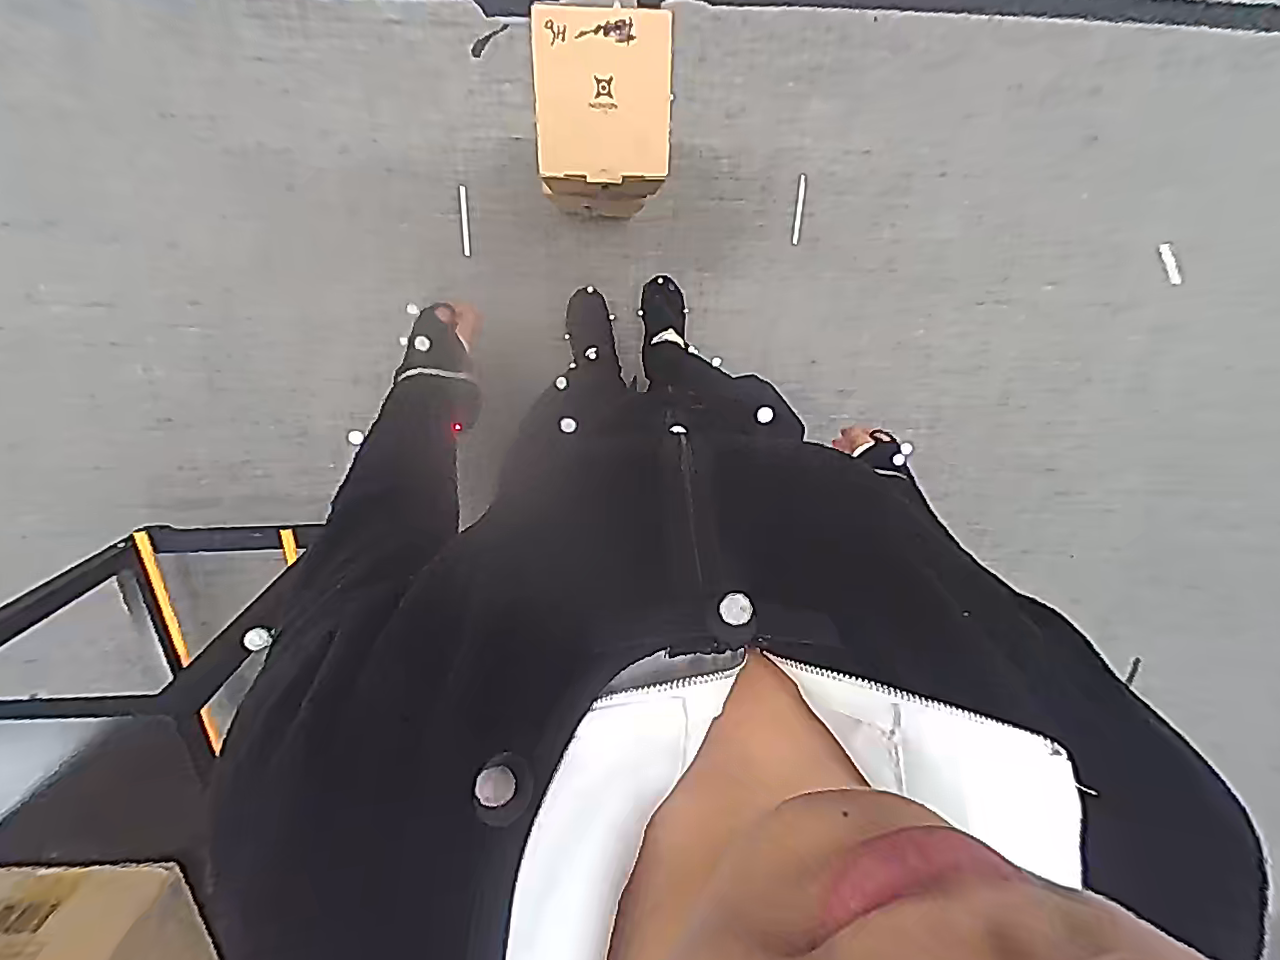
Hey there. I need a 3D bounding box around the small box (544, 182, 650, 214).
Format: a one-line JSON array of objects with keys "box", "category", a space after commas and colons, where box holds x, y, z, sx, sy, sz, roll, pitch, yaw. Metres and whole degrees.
[{"box": [-0.064, -0.543, 0.881, 0.168, 0.176, 0.179, 3, 113, -5], "category": "small box"}]

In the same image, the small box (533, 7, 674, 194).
[{"box": [-0.047, -0.490, 0.726, 0.168, 0.176, 0.179, 0, 113, -3], "category": "small box"}]
